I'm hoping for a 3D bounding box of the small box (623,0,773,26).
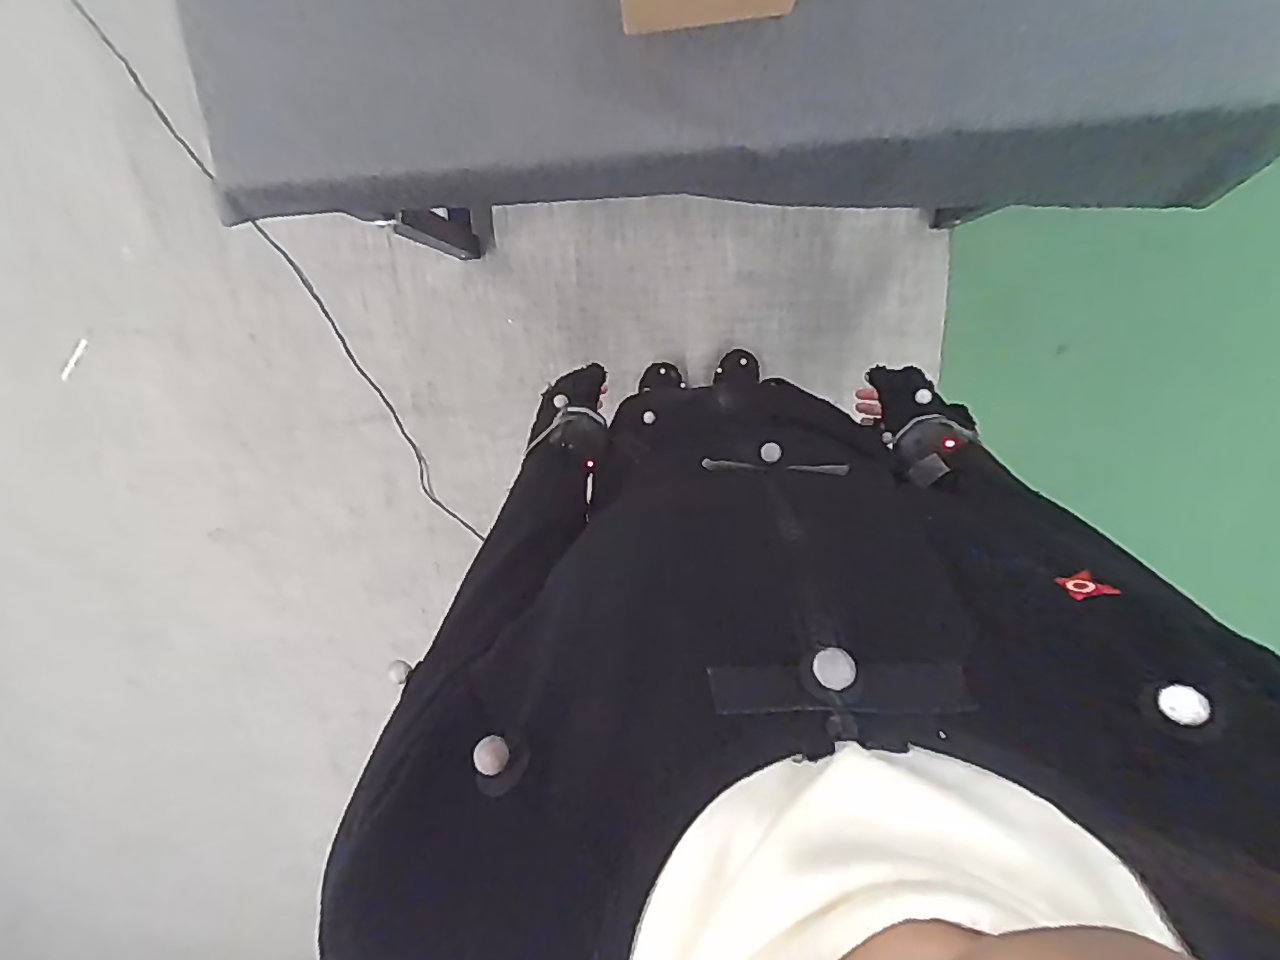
[{"bbox_3d":[0.062,-0.537,0.462,0.179,0.176,0.168,-7,105,3],"label":"small box"}]
